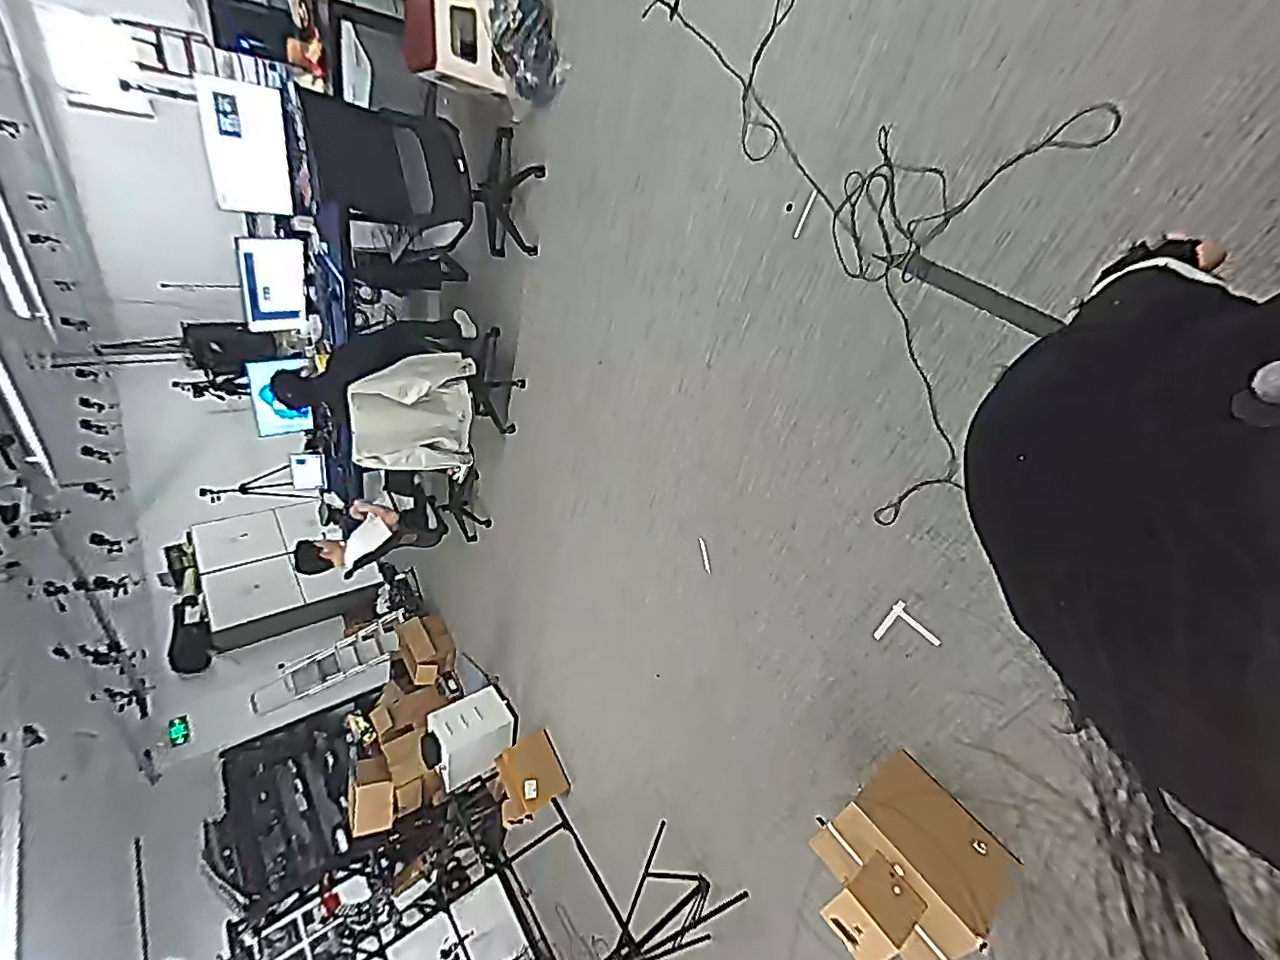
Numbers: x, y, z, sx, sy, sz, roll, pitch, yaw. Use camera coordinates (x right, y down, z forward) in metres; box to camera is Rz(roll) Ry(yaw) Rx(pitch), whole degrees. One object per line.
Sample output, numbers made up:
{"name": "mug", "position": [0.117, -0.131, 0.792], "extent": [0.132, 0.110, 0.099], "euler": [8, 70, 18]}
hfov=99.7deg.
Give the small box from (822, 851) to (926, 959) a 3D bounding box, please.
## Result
{"name": "small box", "position": [0.643, 1.172, 1.482], "extent": [0.168, 0.176, 0.179], "euler": [43, 132, 34]}
